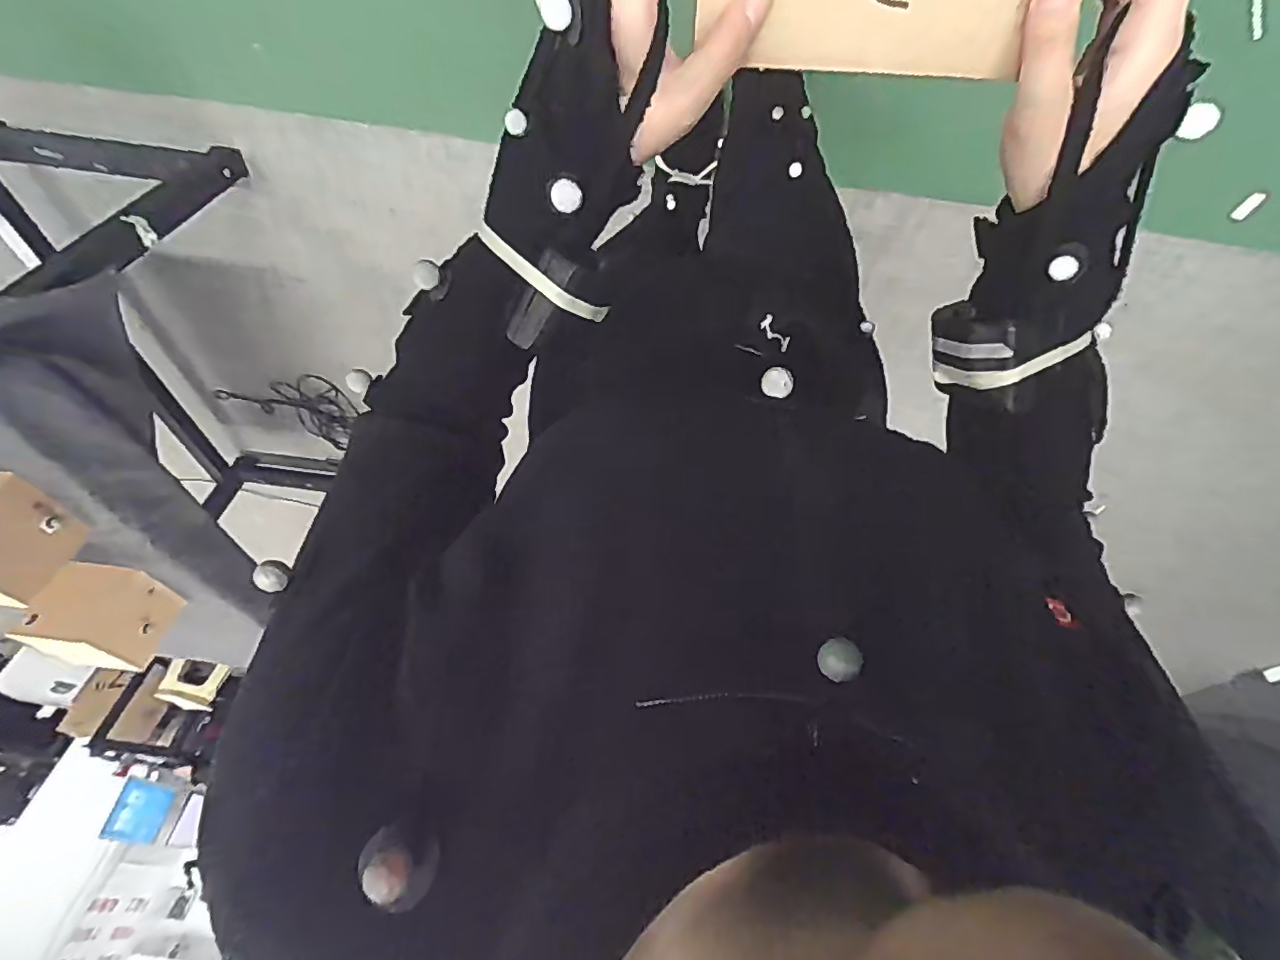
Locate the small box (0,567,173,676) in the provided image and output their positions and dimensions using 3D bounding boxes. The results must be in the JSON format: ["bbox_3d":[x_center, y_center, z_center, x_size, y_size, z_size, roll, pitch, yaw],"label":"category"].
[{"bbox_3d":[-1.142,0.296,1.135,0.179,0.176,0.168,4,142,4],"label":"small box"}]

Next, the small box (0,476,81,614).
[{"bbox_3d":[-1.099,0.099,0.879,0.179,0.176,0.168,3,143,5],"label":"small box"}]
